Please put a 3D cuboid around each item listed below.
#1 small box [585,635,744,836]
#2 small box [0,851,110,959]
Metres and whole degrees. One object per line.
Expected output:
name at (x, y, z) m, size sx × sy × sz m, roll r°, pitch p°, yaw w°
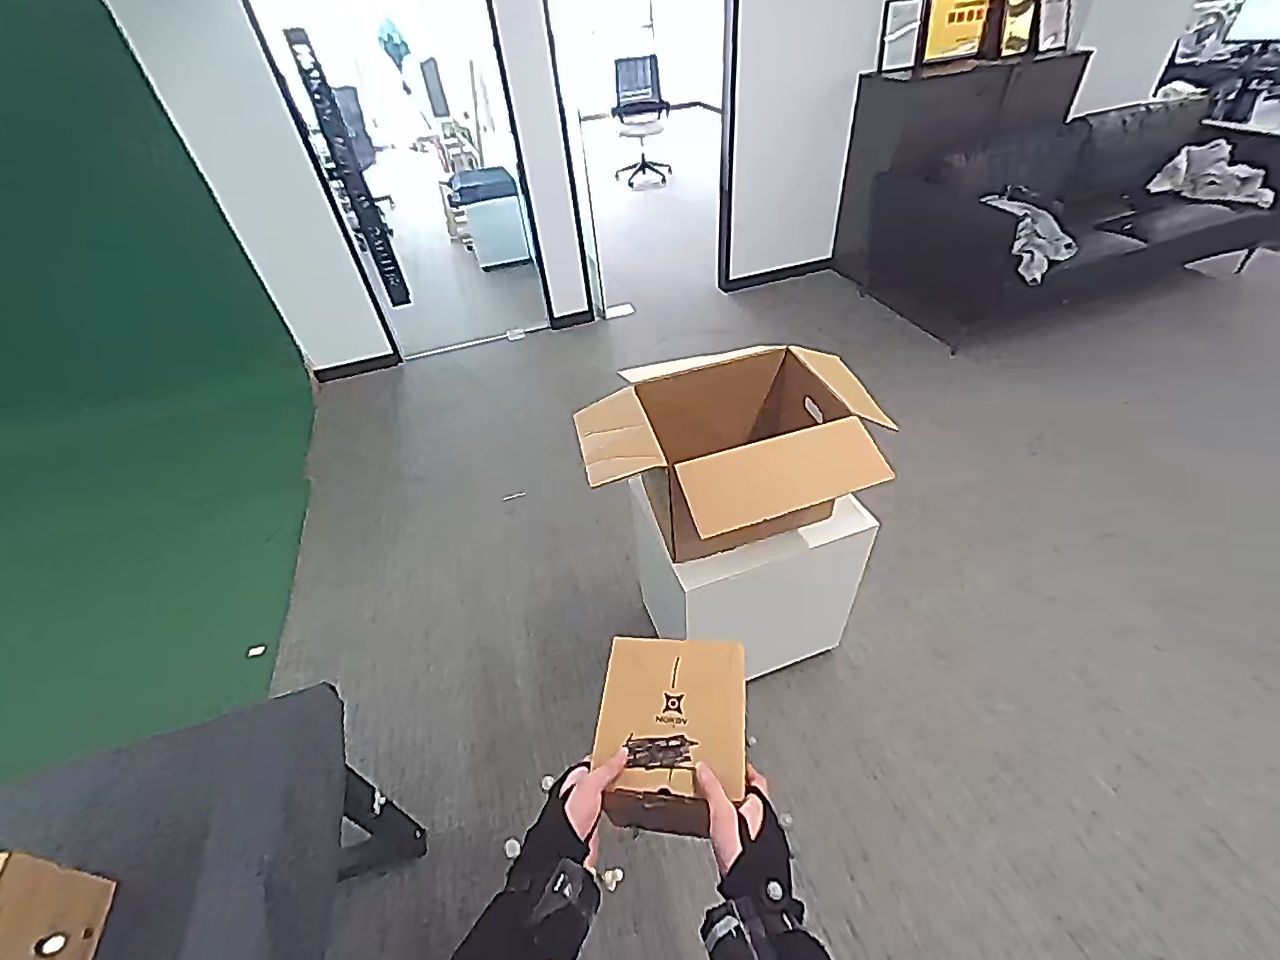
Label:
small box at (0.043, 0.317, 0.670) m, size 0.168 × 0.176 × 0.179 m, roll 1°, pitch 45°, yaw 11°
small box at (-0.780, 0.563, 0.616) m, size 0.179 × 0.176 × 0.168 m, roll -14°, pitch 43°, yaw -11°
